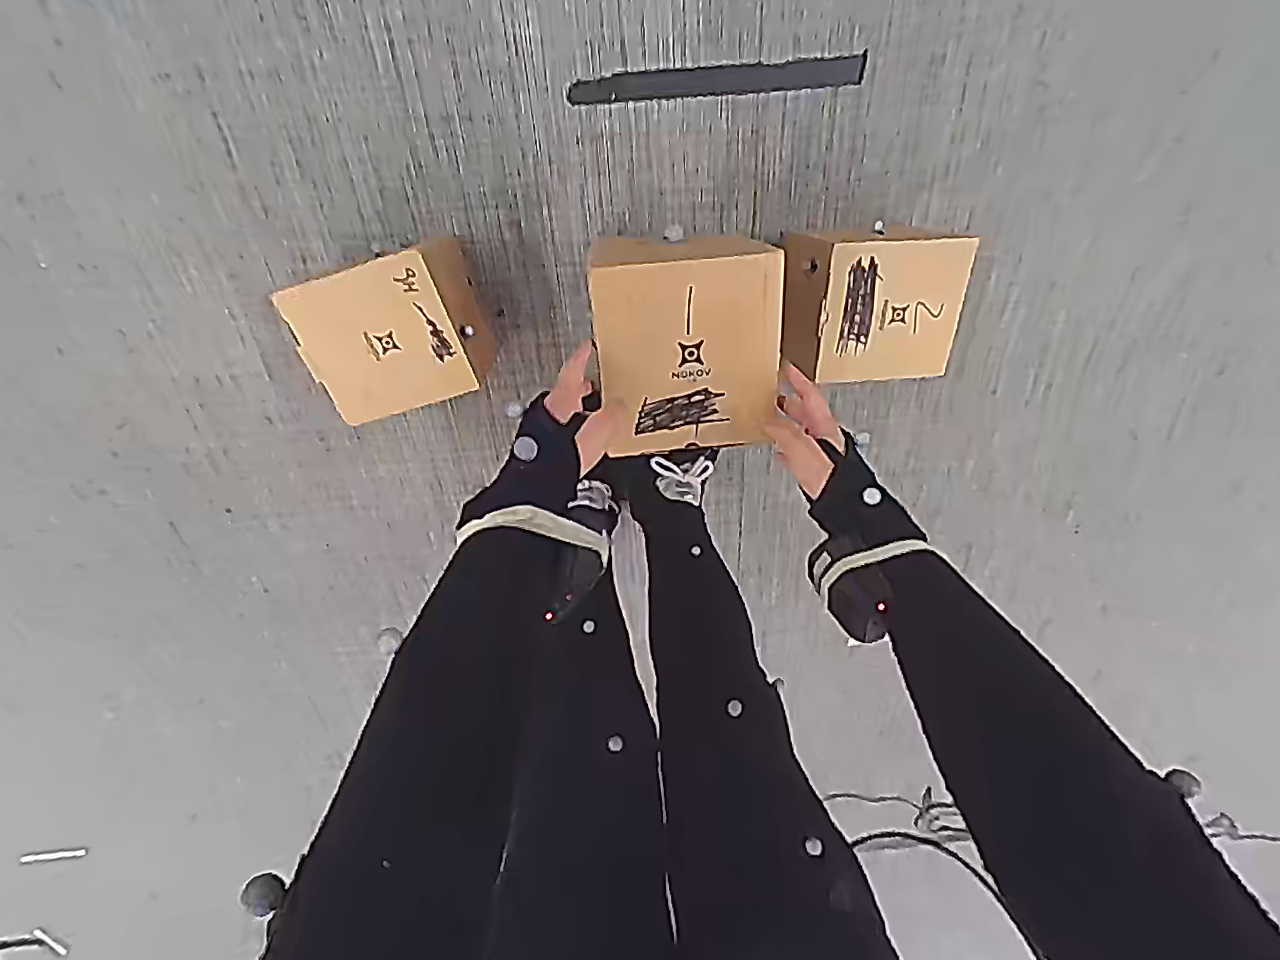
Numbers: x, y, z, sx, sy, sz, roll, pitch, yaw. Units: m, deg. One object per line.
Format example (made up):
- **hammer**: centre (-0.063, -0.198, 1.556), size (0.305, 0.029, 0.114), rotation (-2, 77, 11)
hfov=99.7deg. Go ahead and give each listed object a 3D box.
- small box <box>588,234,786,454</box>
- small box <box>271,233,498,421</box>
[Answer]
- **small box**: centre (0.038, -0.144, 0.552), size (0.168, 0.176, 0.179), rotation (-5, 119, -2)
- **small box**: centre (-0.300, -0.198, 0.682), size (0.179, 0.176, 0.168), rotation (-15, 120, 4)
